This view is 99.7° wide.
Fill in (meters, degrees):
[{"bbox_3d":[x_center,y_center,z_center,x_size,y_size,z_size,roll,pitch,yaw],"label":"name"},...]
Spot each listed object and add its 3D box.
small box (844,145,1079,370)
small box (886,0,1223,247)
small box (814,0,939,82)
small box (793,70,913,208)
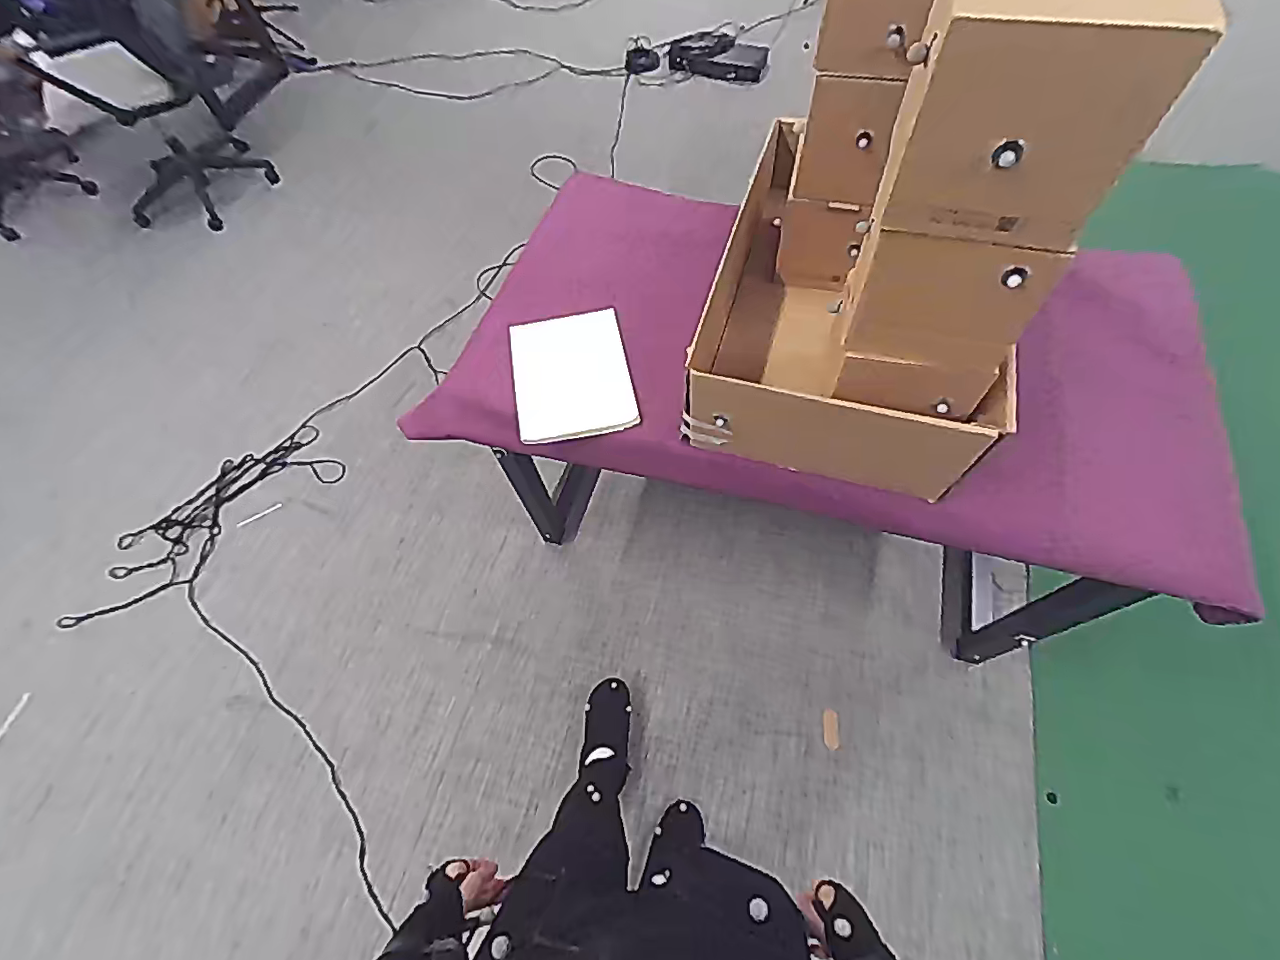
[{"bbox_3d":[0.345,-0.248,0.612,0.179,0.176,0.168,14,61,12],"label":"small box"},{"bbox_3d":[0.328,-0.333,0.471,0.168,0.176,0.179,14,61,12],"label":"small box"},{"bbox_3d":[0.318,-0.593,0.622,0.179,0.176,0.168,14,64,10],"label":"small box"},{"bbox_3d":[0.329,-0.512,0.765,0.179,0.176,0.168,11,63,10],"label":"small box"}]
